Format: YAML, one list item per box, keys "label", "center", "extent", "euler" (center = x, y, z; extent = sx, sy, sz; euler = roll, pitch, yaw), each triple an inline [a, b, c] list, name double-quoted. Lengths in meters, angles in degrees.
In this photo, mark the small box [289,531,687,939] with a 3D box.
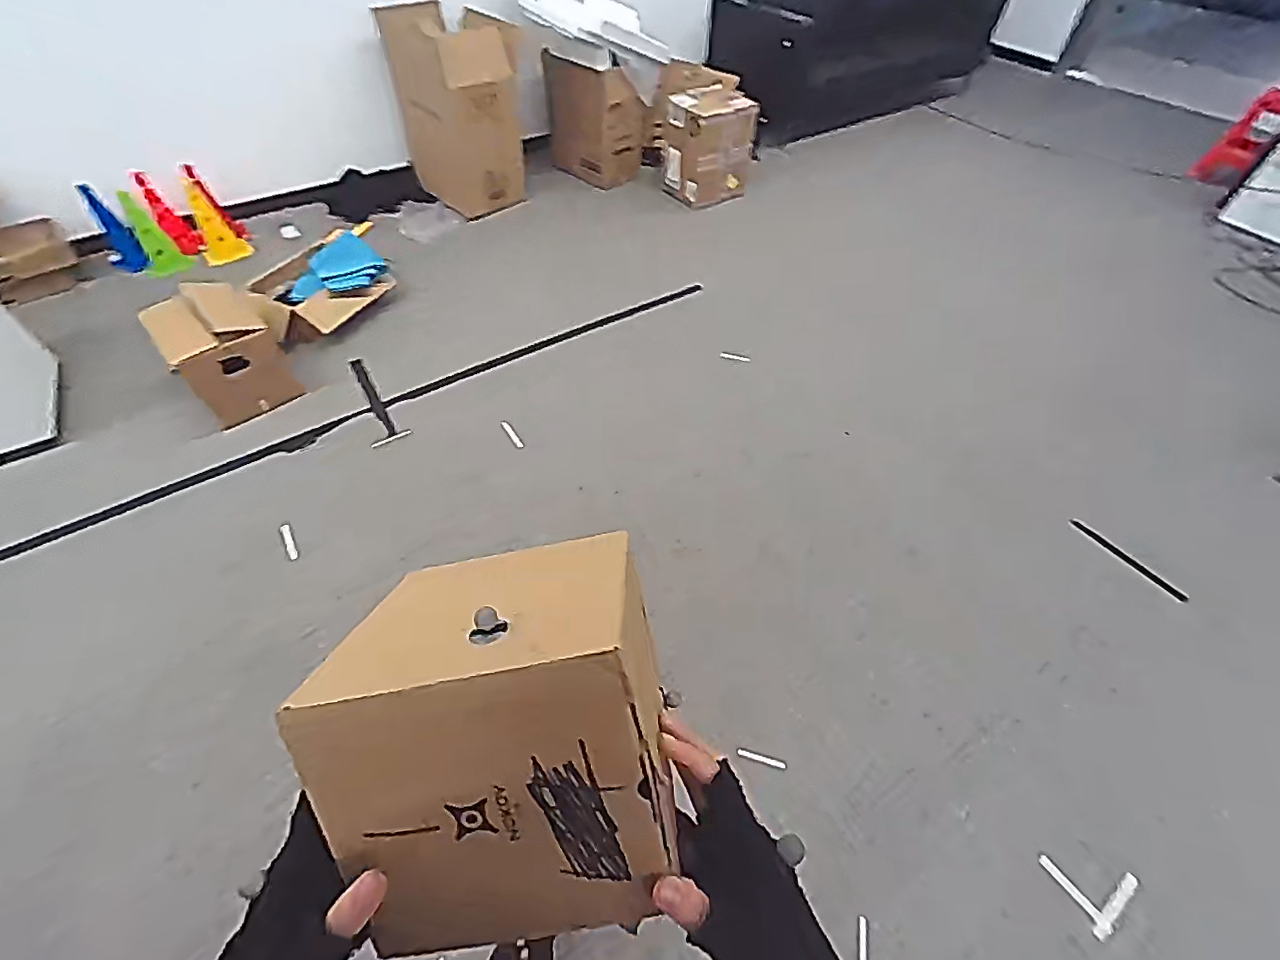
- label: "small box"
  center: [-0.073, 0.144, 0.356]
  extent: [0.179, 0.168, 0.176]
  euler: [-11, 13, 4]
